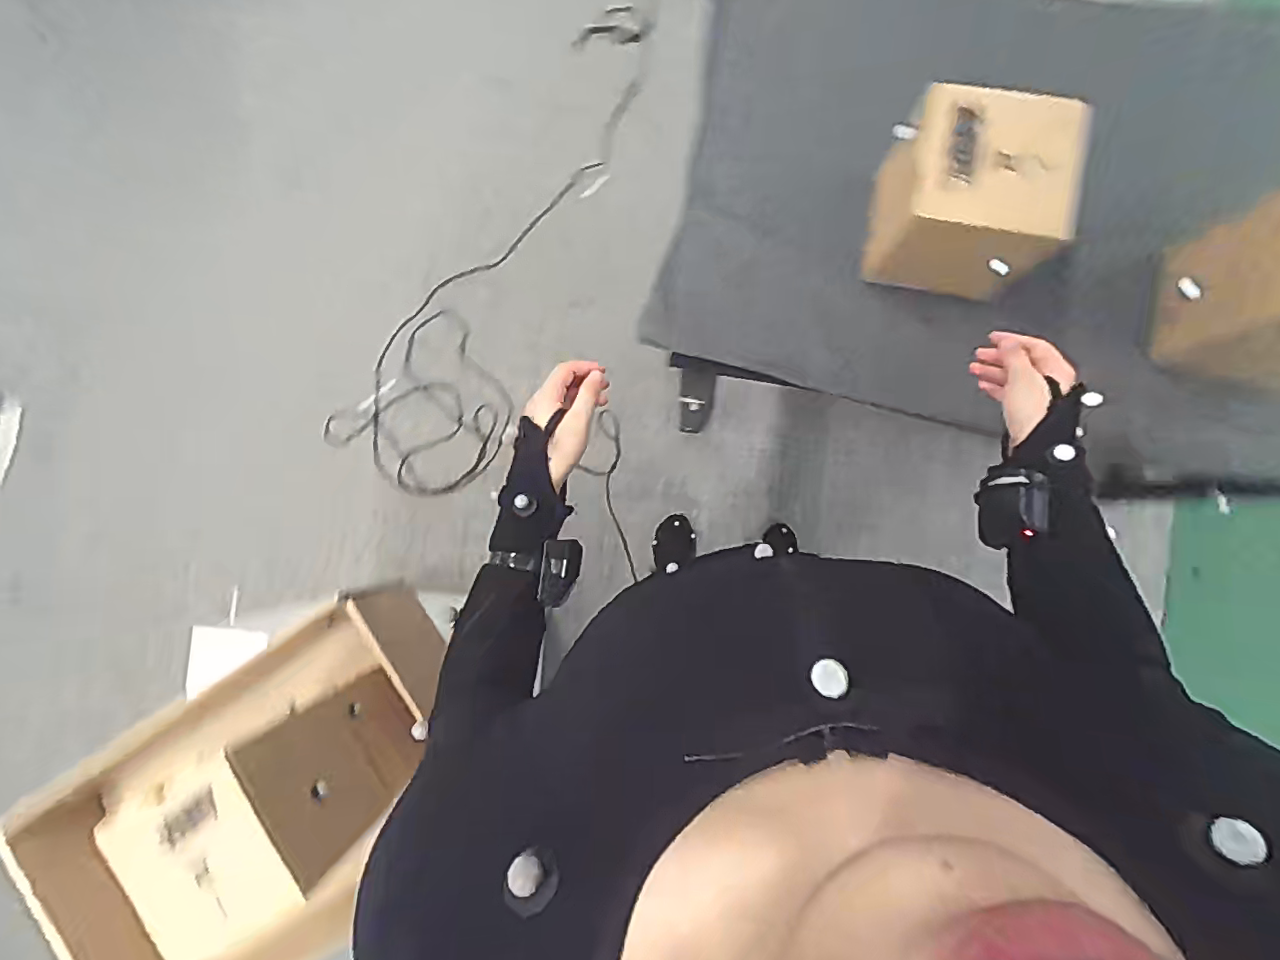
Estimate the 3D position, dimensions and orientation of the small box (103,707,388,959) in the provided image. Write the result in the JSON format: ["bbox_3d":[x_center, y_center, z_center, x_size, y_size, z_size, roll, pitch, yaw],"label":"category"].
[{"bbox_3d":[-0.440,0.395,0.633,0.168,0.176,0.179,-33,87,3],"label":"small box"}]
